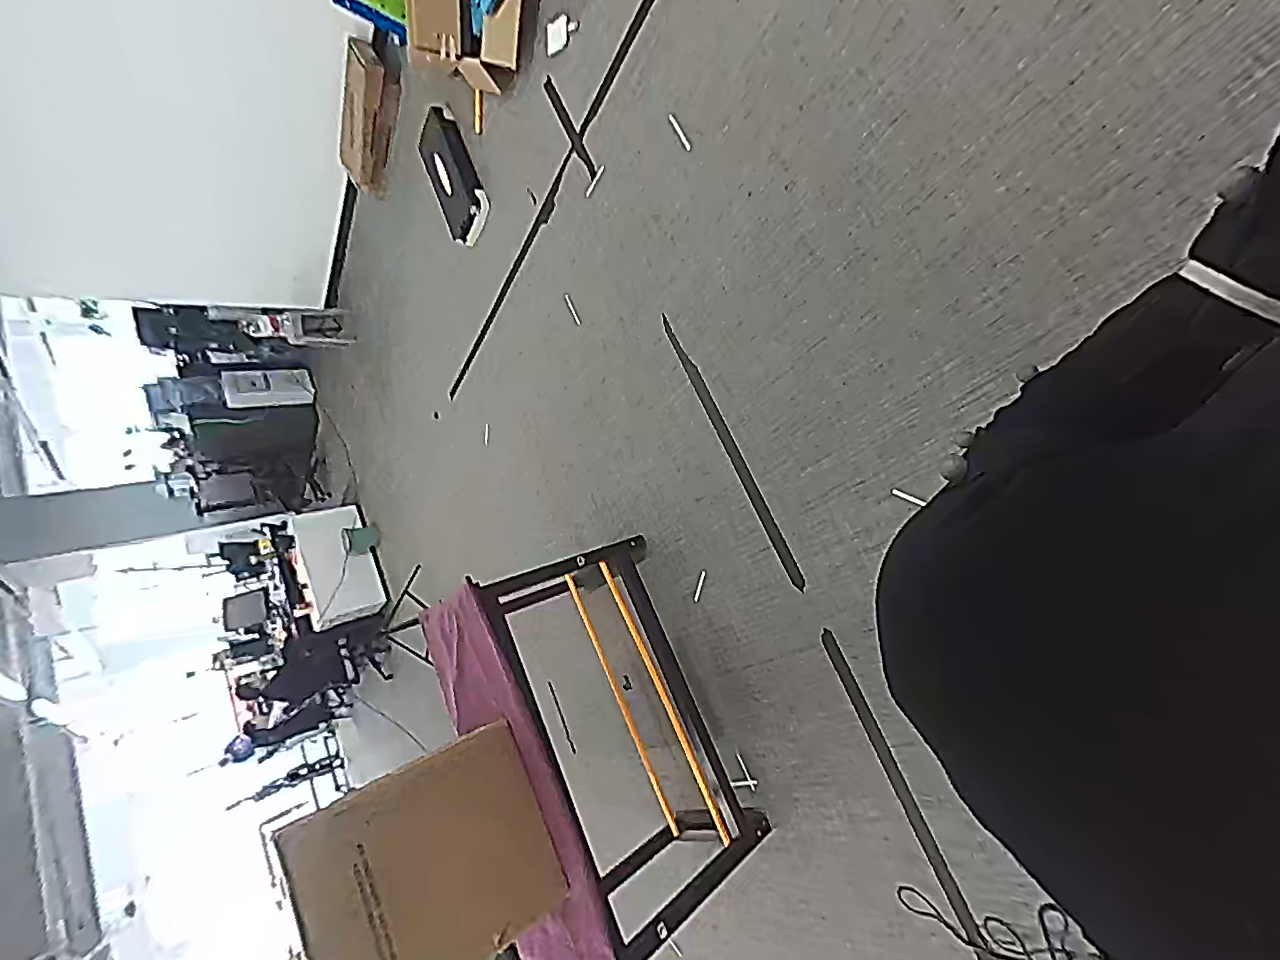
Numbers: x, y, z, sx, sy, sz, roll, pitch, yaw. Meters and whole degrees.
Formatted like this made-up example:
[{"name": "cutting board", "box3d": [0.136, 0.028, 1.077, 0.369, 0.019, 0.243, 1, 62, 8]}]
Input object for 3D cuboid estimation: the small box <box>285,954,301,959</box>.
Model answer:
[{"name": "small box", "box3d": [-0.916, 1.326, 1.336, 0.179, 0.176, 0.168, -42, 68, 45]}]
